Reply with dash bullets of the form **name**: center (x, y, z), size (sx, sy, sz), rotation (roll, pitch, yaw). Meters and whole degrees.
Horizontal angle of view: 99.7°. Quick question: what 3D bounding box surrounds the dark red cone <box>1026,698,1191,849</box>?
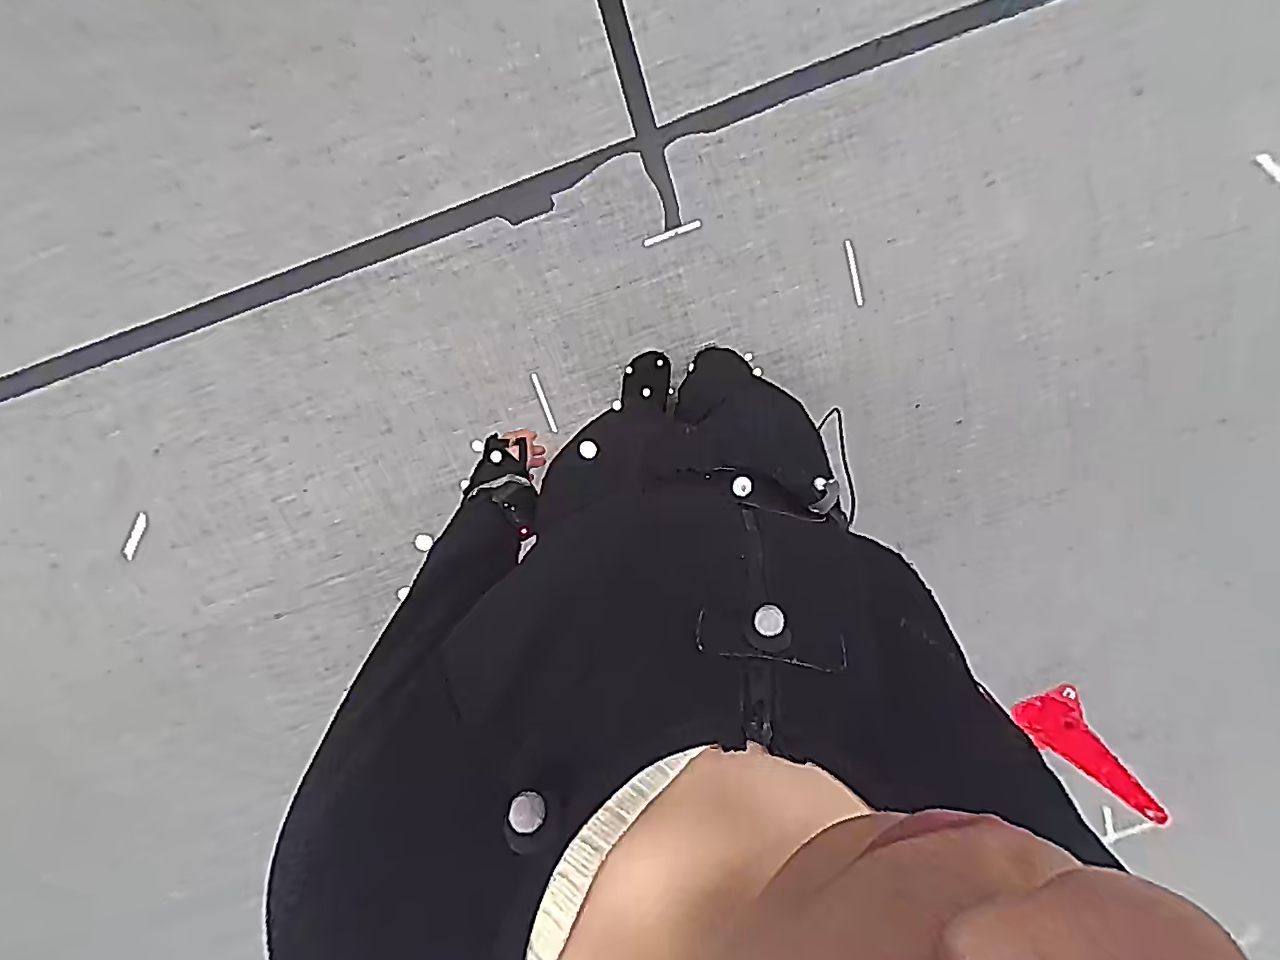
- **dark red cone**: center (1.261, 0.793, 1.447), size (0.201, 0.394, 0.202), rotation (-26, 105, 5)
